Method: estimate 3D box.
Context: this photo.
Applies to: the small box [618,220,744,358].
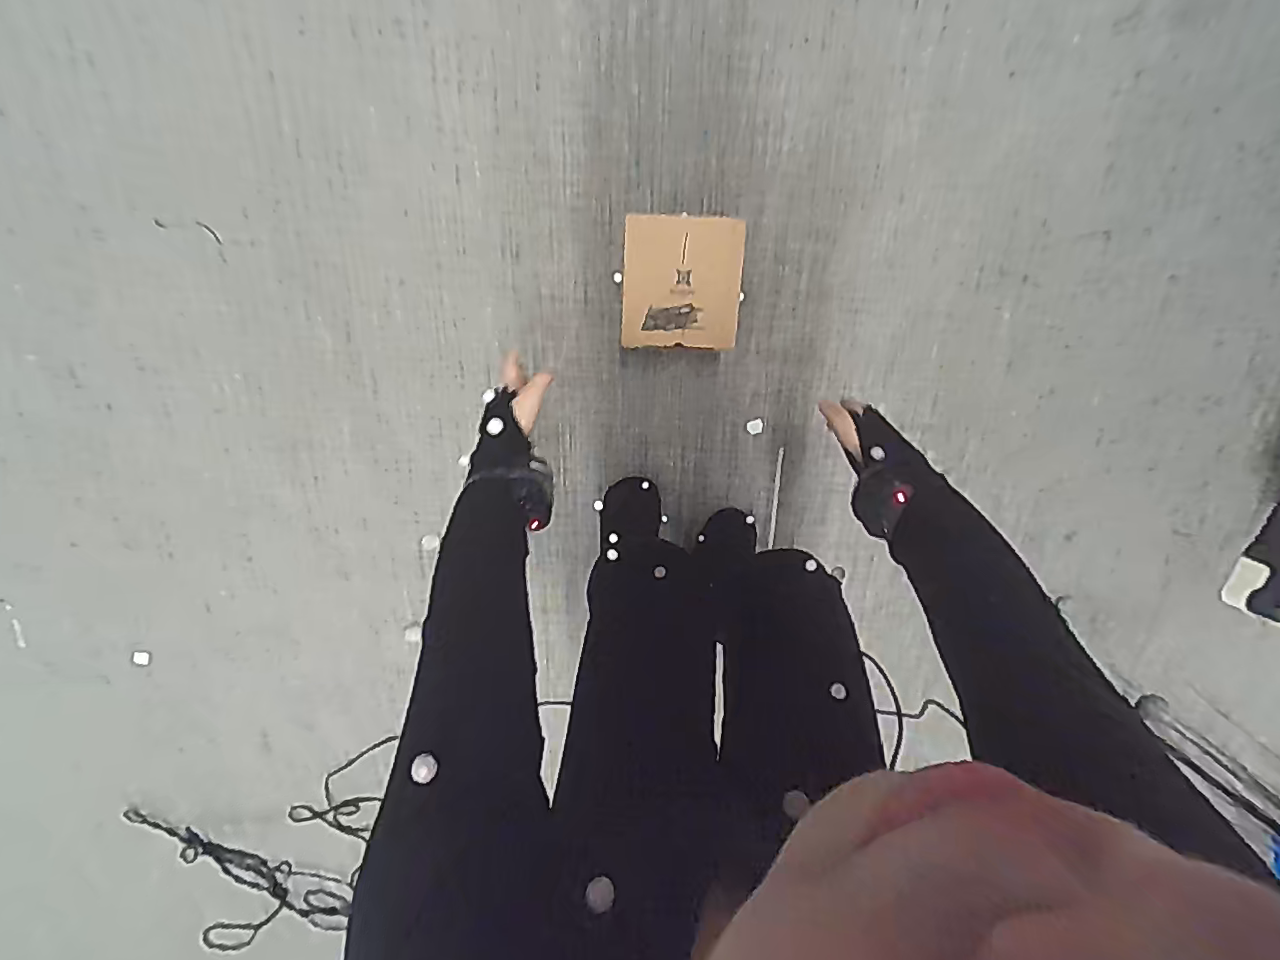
[{"bbox_3d":[0.054,-0.287,0.827,0.168,0.176,0.179,2,108,-2],"label":"small box"}]
